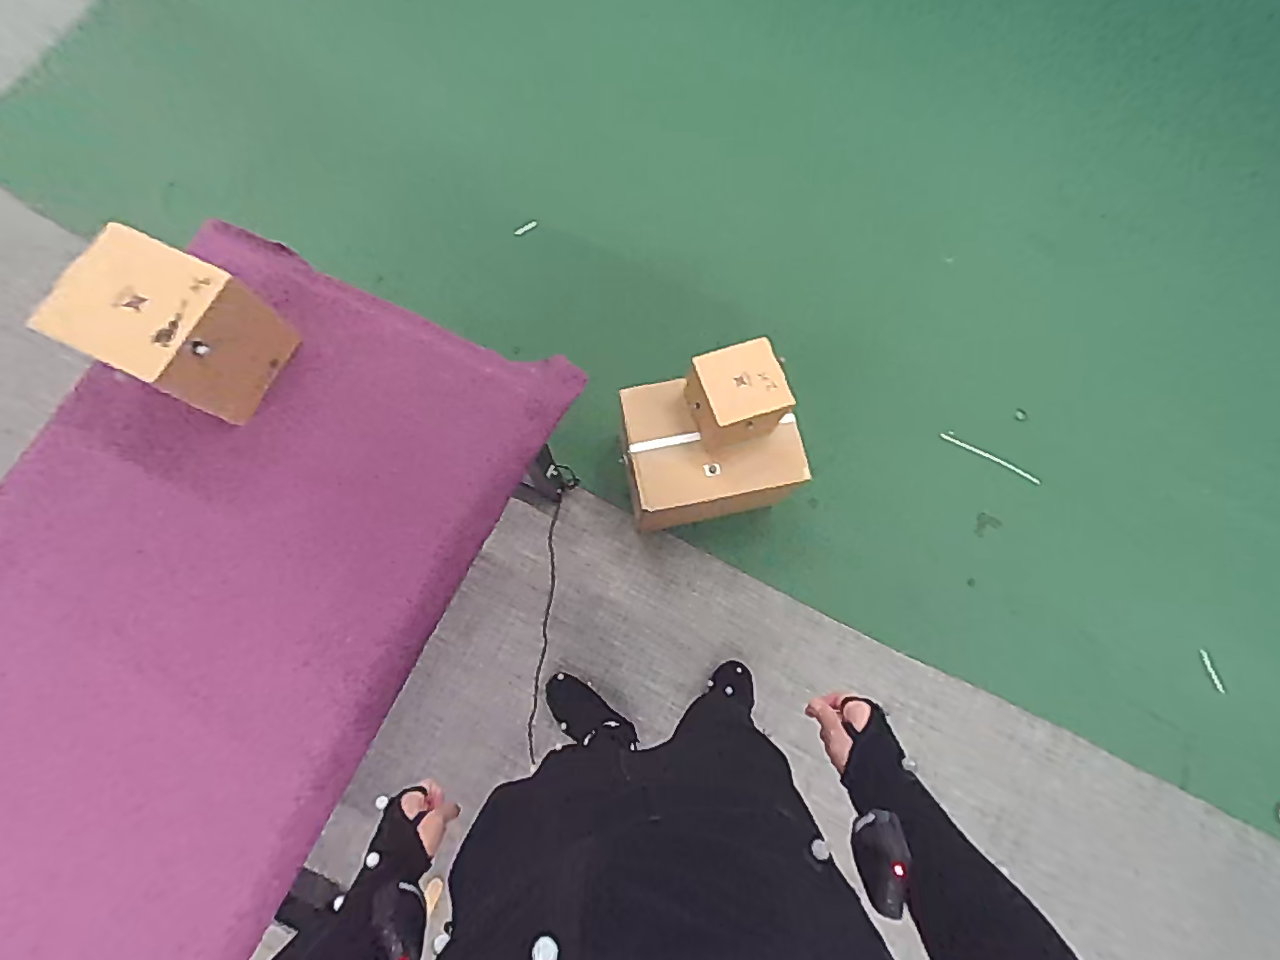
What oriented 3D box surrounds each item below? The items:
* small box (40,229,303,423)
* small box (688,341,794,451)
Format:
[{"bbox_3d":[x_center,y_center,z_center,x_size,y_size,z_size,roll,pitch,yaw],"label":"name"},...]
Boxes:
[{"bbox_3d":[-0.626,-0.200,0.750,0.179,0.176,0.168,25,77,3],"label":"small box"},{"bbox_3d":[0.214,-0.181,1.216,0.179,0.176,0.168,-18,76,-8],"label":"small box"}]
